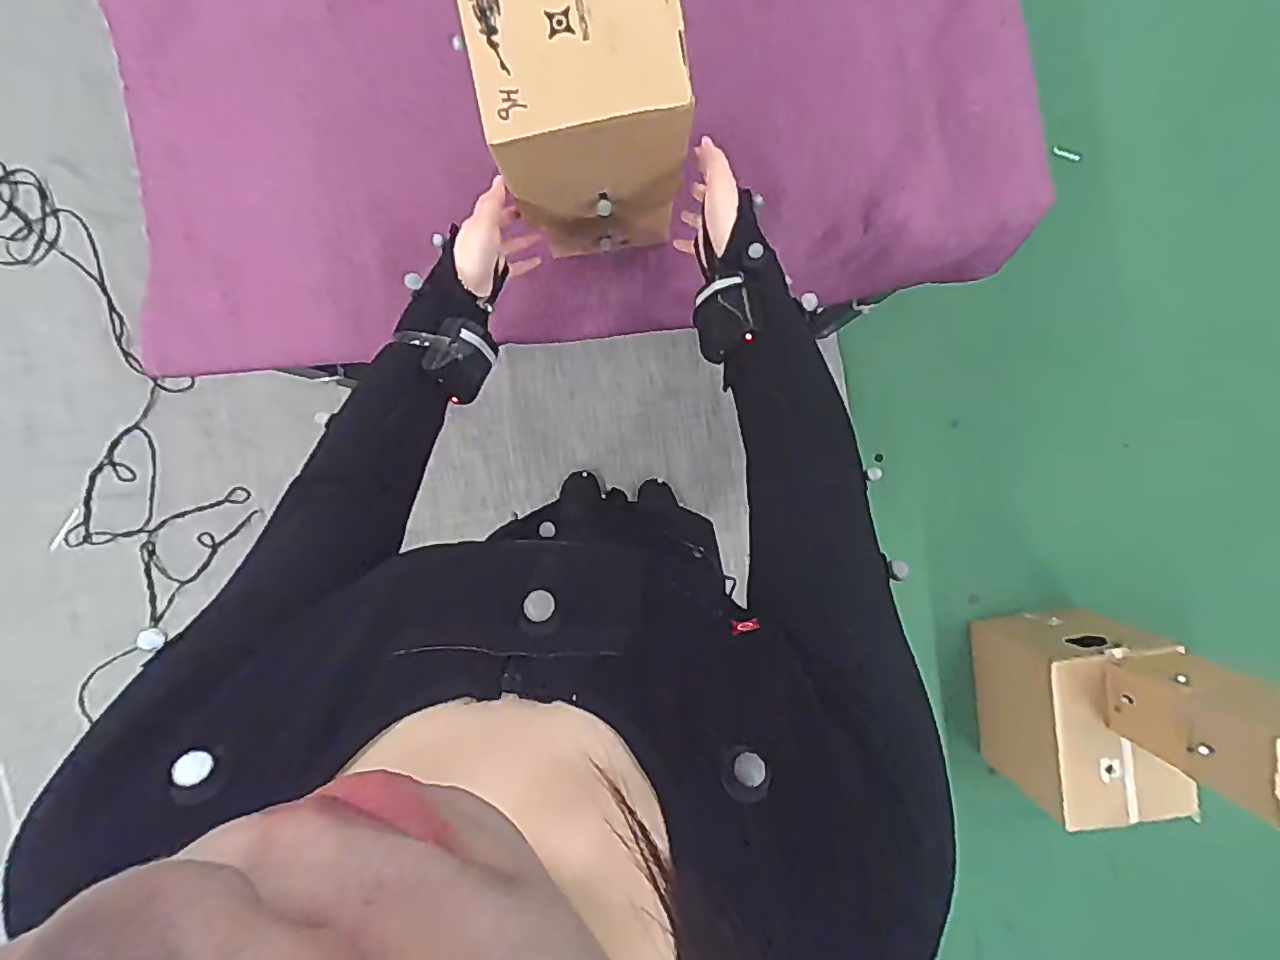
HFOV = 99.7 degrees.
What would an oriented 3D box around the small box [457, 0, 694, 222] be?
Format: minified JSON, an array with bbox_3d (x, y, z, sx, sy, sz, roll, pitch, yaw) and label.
[{"bbox_3d":[-0.057,-0.370,0.507,0.179,0.176,0.168,-11,91,0],"label":"small box"}]

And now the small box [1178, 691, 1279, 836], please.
[{"bbox_3d":[1.133,0.496,0.968,0.179,0.176,0.168,-8,93,0],"label":"small box"}]

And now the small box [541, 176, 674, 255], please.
[{"bbox_3d":[-0.053,-0.405,0.671,0.168,0.176,0.179,-7,93,0],"label":"small box"}]

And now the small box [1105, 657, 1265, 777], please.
[{"bbox_3d":[1.133,0.486,1.132,0.179,0.176,0.168,-7,93,0],"label":"small box"}]

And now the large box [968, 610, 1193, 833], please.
[{"bbox_3d":[1.094,0.587,1.379,0.320,0.320,0.408,-7,93,1],"label":"large box"}]
